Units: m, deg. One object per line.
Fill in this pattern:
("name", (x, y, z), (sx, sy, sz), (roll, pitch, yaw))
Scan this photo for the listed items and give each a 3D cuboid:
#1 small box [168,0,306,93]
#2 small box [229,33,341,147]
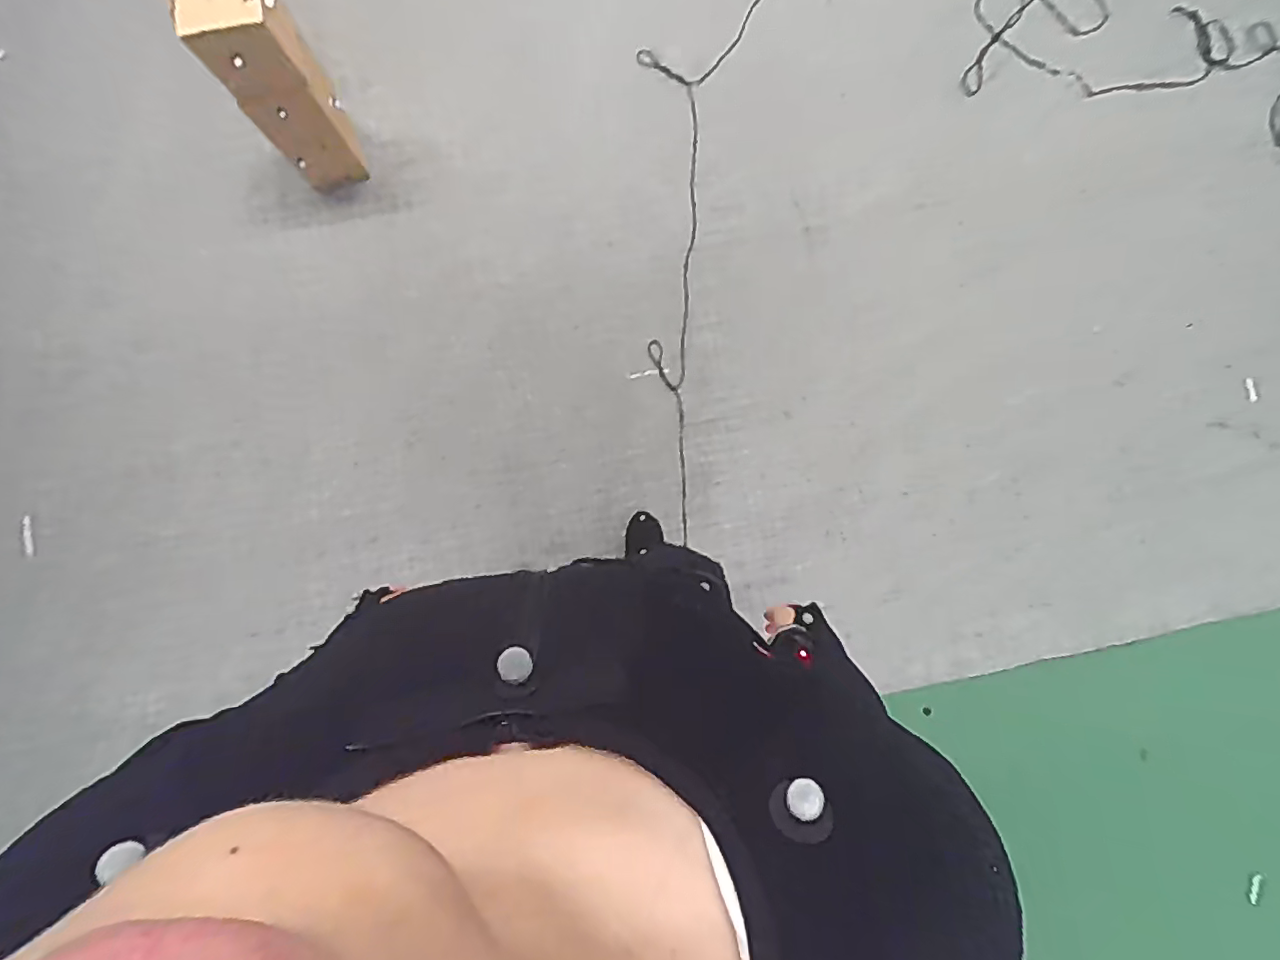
("small box", (-0.868, -0.981, 1.168), (0.179, 0.176, 0.168), (-13, 86, -2))
("small box", (-0.876, -0.959, 1.331), (0.179, 0.176, 0.168), (-13, 86, -4))
